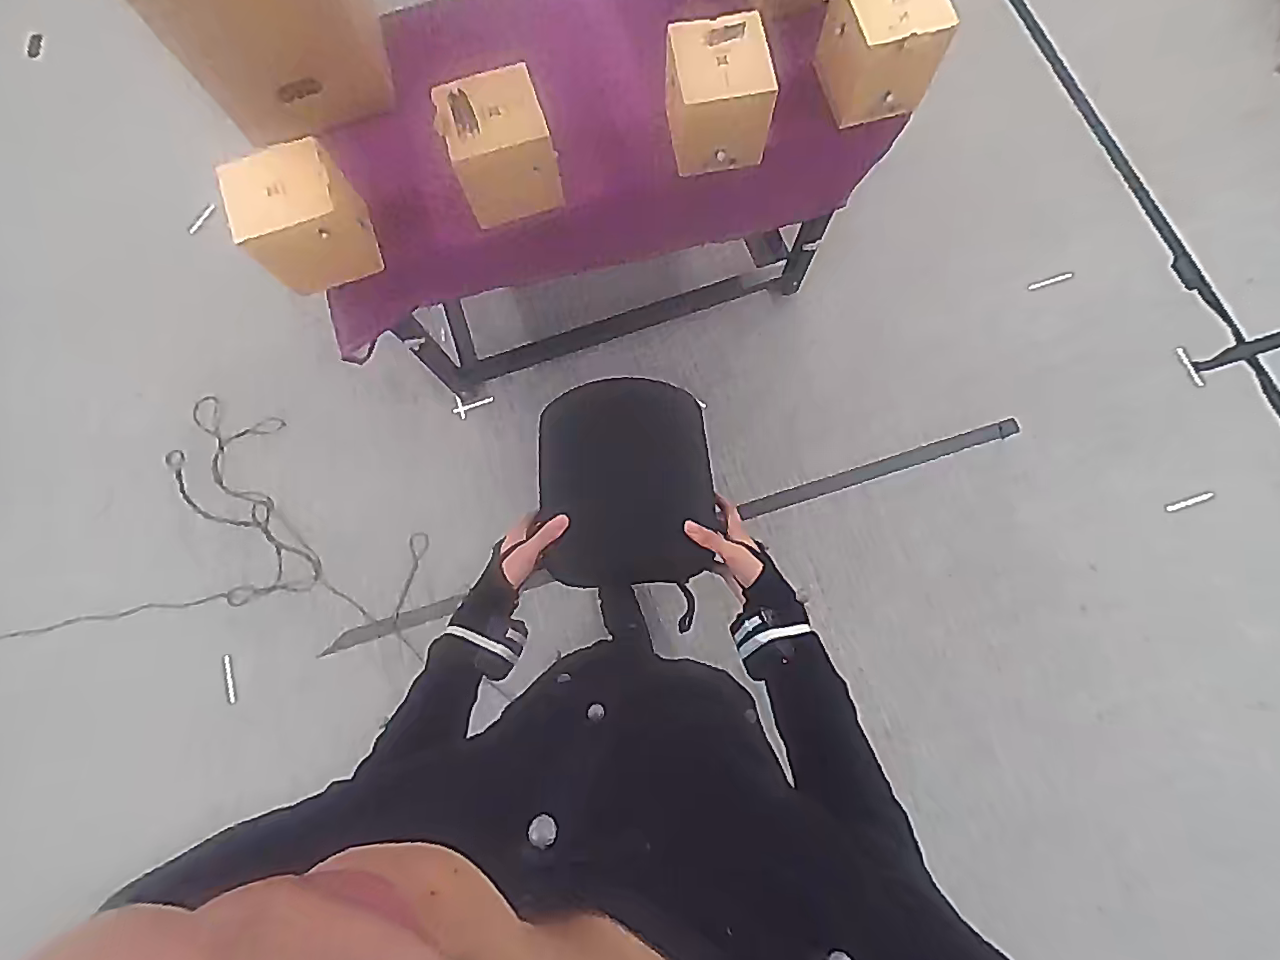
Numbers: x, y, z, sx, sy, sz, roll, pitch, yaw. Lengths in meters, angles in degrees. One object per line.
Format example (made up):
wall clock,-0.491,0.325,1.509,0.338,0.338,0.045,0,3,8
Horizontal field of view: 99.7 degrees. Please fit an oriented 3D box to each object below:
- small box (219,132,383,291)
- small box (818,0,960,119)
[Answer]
small box,-0.607,-0.476,0.984,0.179,0.176,0.168,-21,78,-3
small box,0.454,-0.832,1.019,0.168,0.176,0.179,-14,78,0
